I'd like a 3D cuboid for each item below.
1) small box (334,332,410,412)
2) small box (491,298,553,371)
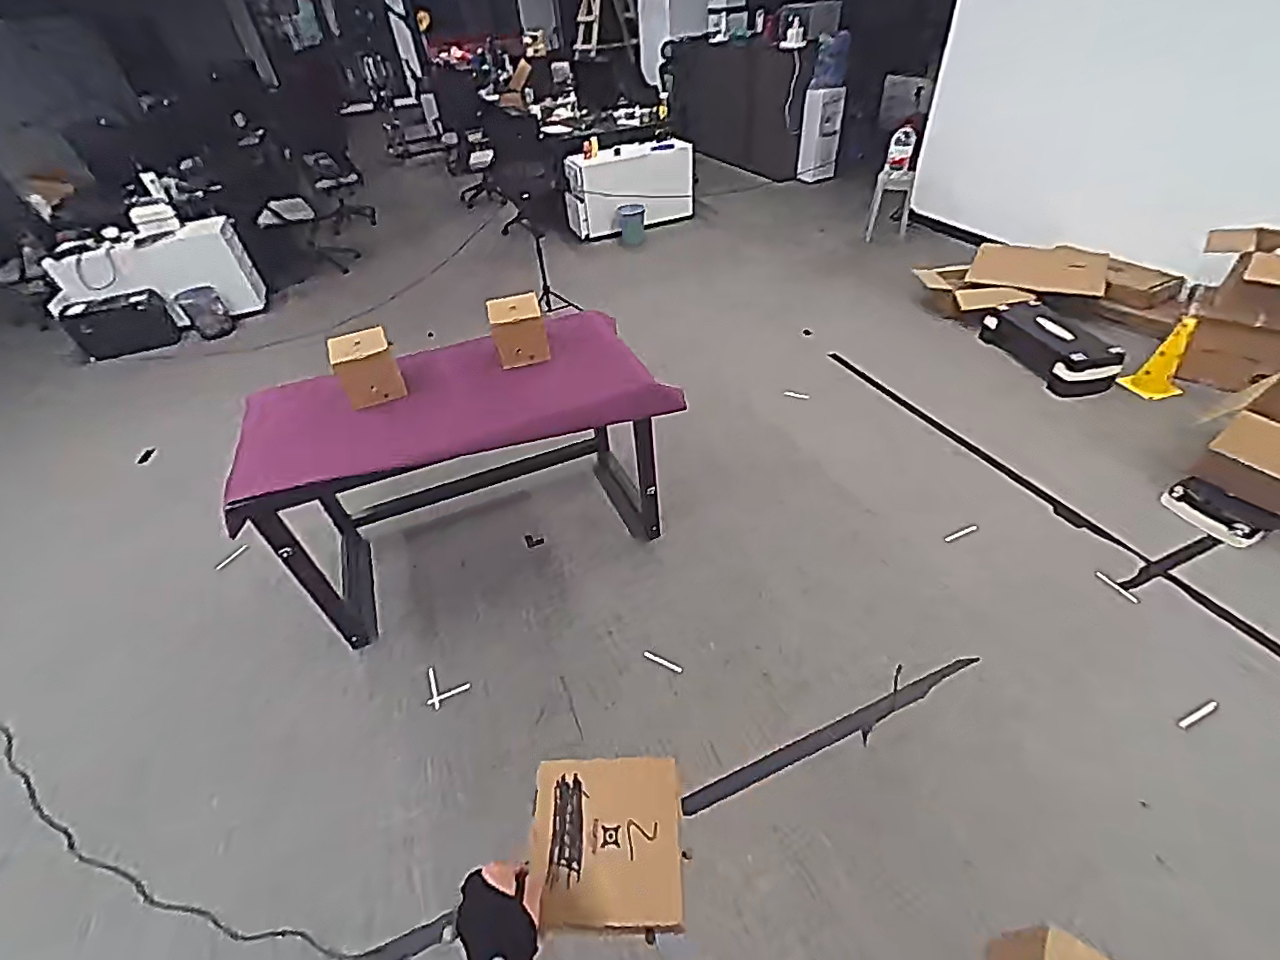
[{"bbox_3d":[-0.850,-0.344,1.720,0.168,0.176,0.179,-21,45,-16],"label":"small box"},{"bbox_3d":[-0.402,-0.493,1.840,0.168,0.176,0.179,-14,44,-9],"label":"small box"}]
